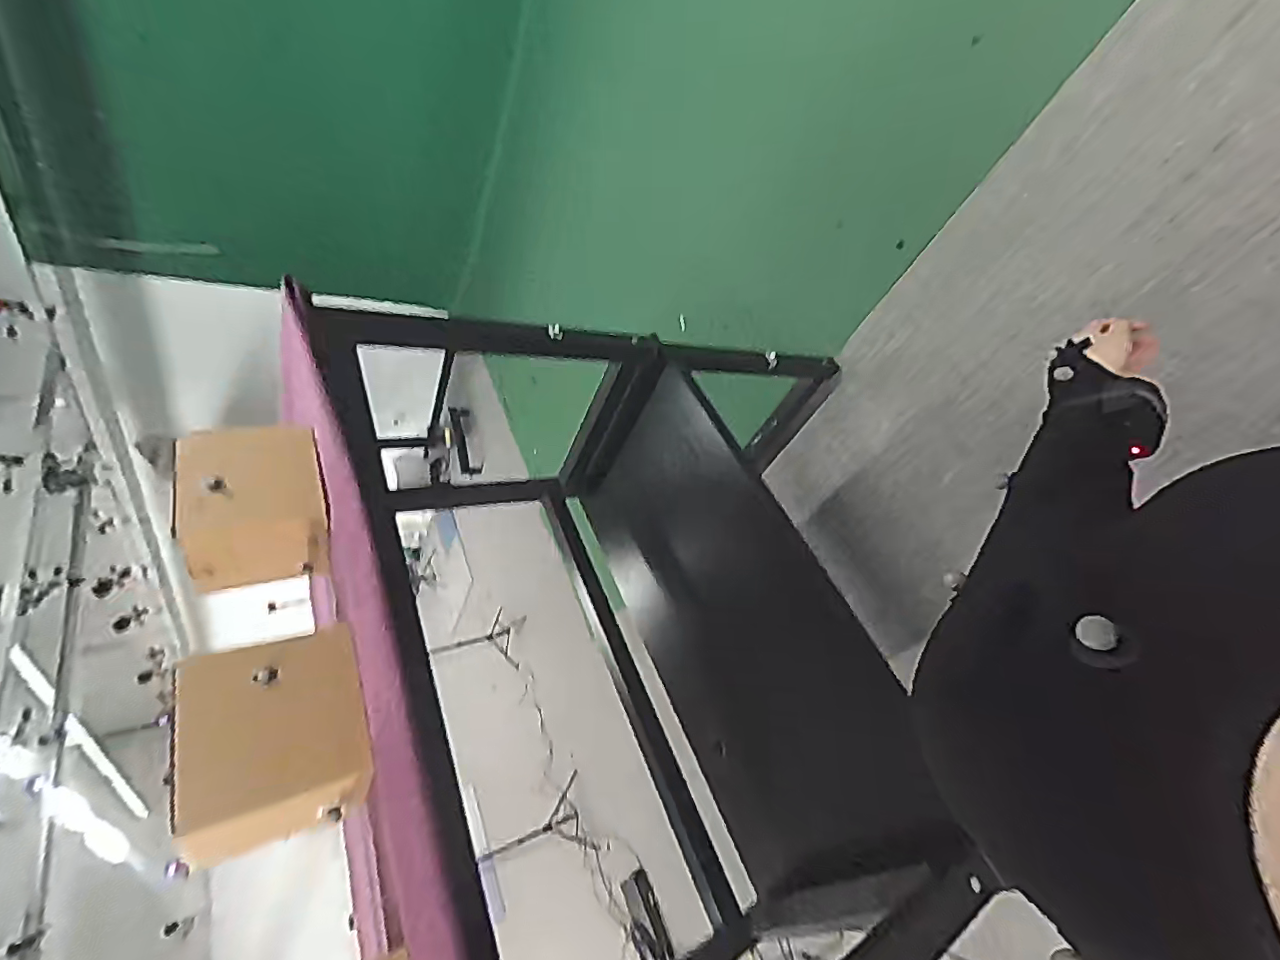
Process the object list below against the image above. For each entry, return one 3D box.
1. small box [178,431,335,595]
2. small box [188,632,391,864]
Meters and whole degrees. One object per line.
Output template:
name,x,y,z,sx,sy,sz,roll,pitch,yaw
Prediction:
small box,-0.559,0.042,0.805,0.179,0.176,0.168,62,141,28
small box,-0.400,0.294,0.623,0.179,0.176,0.168,60,138,29
